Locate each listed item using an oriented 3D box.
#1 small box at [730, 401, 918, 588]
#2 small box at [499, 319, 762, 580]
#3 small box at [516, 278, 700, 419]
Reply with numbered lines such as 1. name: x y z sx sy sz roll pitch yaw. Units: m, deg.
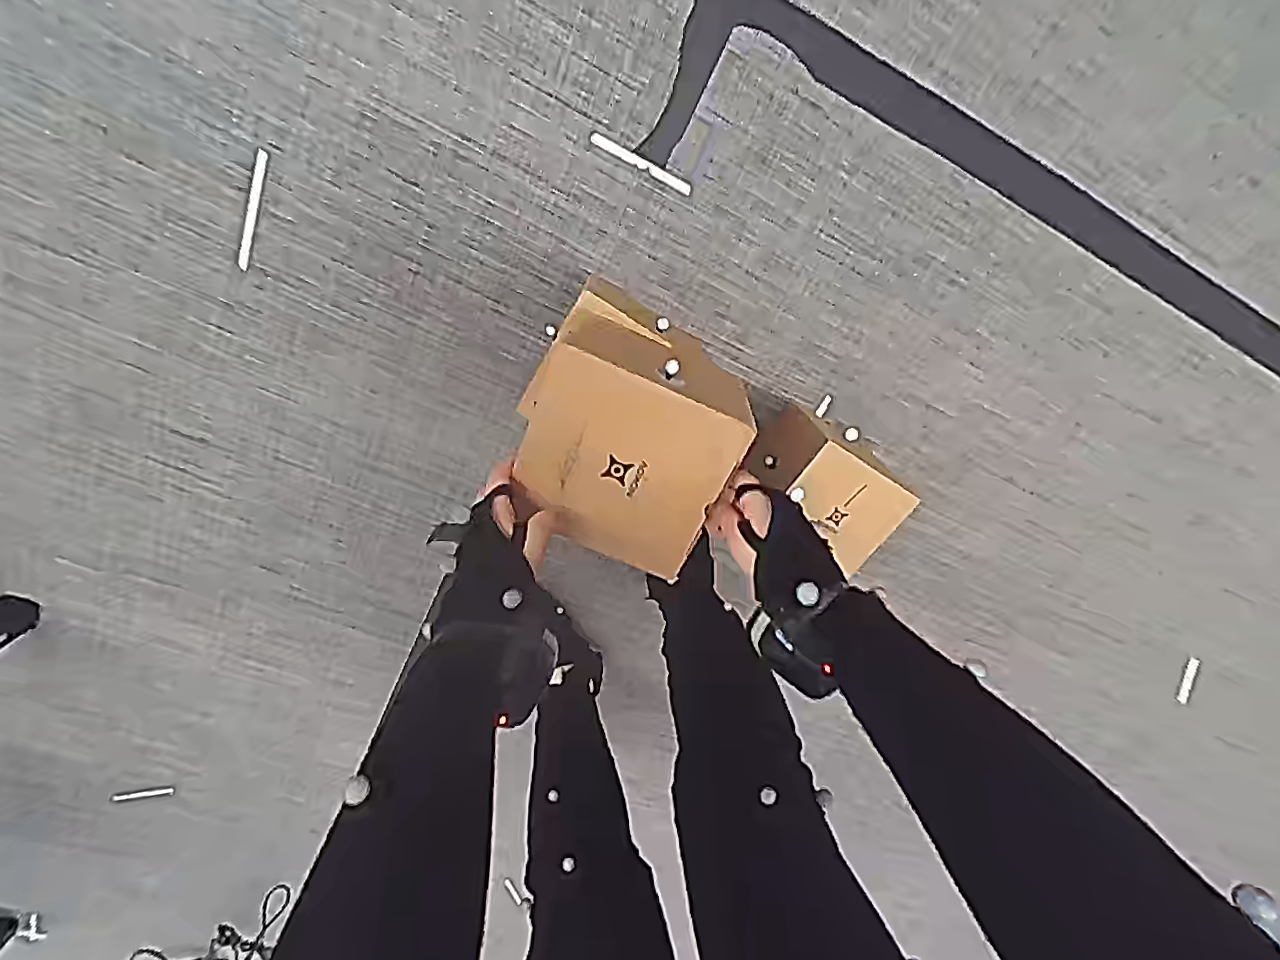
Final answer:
1. small box: 0.248 0.016 0.783 0.168 0.176 0.179 30 111 -16
2. small box: -0.006 -0.041 0.523 0.179 0.176 0.168 24 114 -5
3. small box: -0.033 -0.140 0.696 0.179 0.176 0.168 29 111 -16
